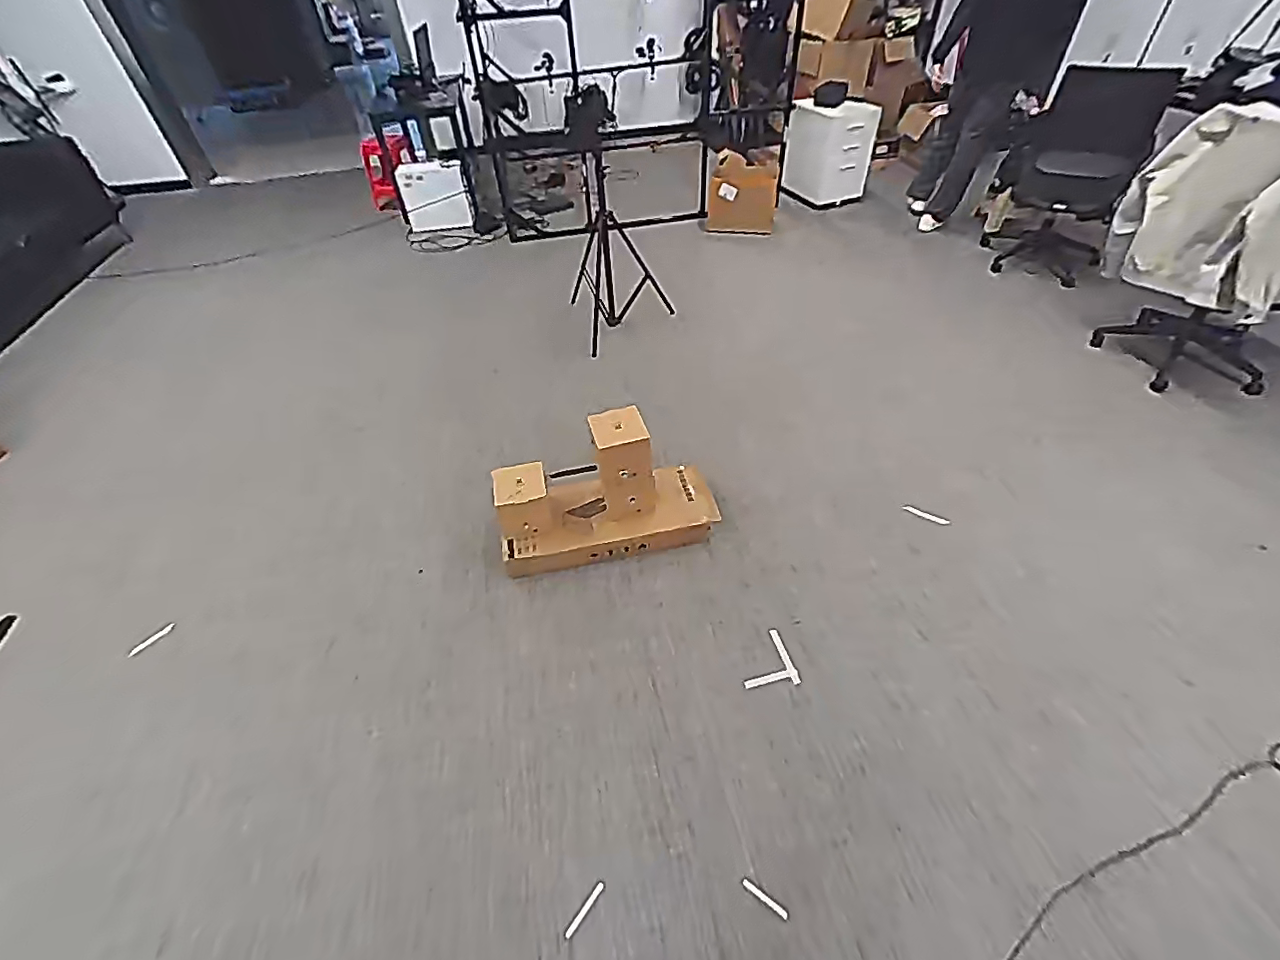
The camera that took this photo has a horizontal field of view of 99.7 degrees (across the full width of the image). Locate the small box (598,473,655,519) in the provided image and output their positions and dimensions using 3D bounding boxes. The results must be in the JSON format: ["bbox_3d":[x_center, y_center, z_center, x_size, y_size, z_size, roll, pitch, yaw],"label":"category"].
[{"bbox_3d":[-0.048,0.016,1.857,0.168,0.176,0.179,-12,46,-9],"label":"small box"}]

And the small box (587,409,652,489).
[{"bbox_3d":[-0.065,-0.099,1.741,0.168,0.176,0.179,-15,46,-10],"label":"small box"}]
